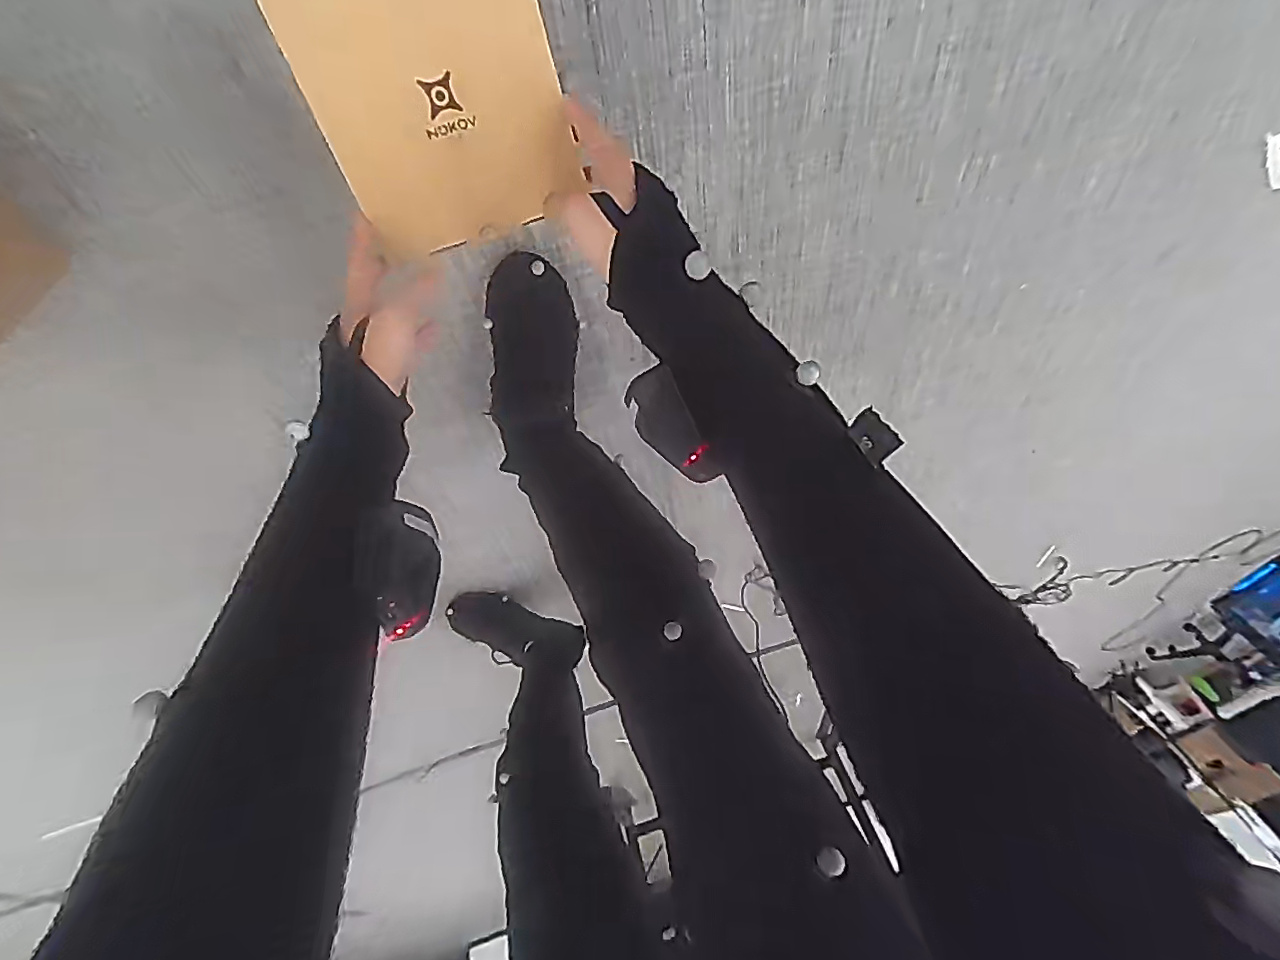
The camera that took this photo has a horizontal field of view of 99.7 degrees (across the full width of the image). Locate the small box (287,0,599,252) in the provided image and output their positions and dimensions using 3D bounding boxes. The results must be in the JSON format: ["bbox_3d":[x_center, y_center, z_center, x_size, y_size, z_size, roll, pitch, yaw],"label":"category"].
[{"bbox_3d":[-0.148,-0.310,0.443,0.168,0.176,0.179,-19,125,-4],"label":"small box"}]
